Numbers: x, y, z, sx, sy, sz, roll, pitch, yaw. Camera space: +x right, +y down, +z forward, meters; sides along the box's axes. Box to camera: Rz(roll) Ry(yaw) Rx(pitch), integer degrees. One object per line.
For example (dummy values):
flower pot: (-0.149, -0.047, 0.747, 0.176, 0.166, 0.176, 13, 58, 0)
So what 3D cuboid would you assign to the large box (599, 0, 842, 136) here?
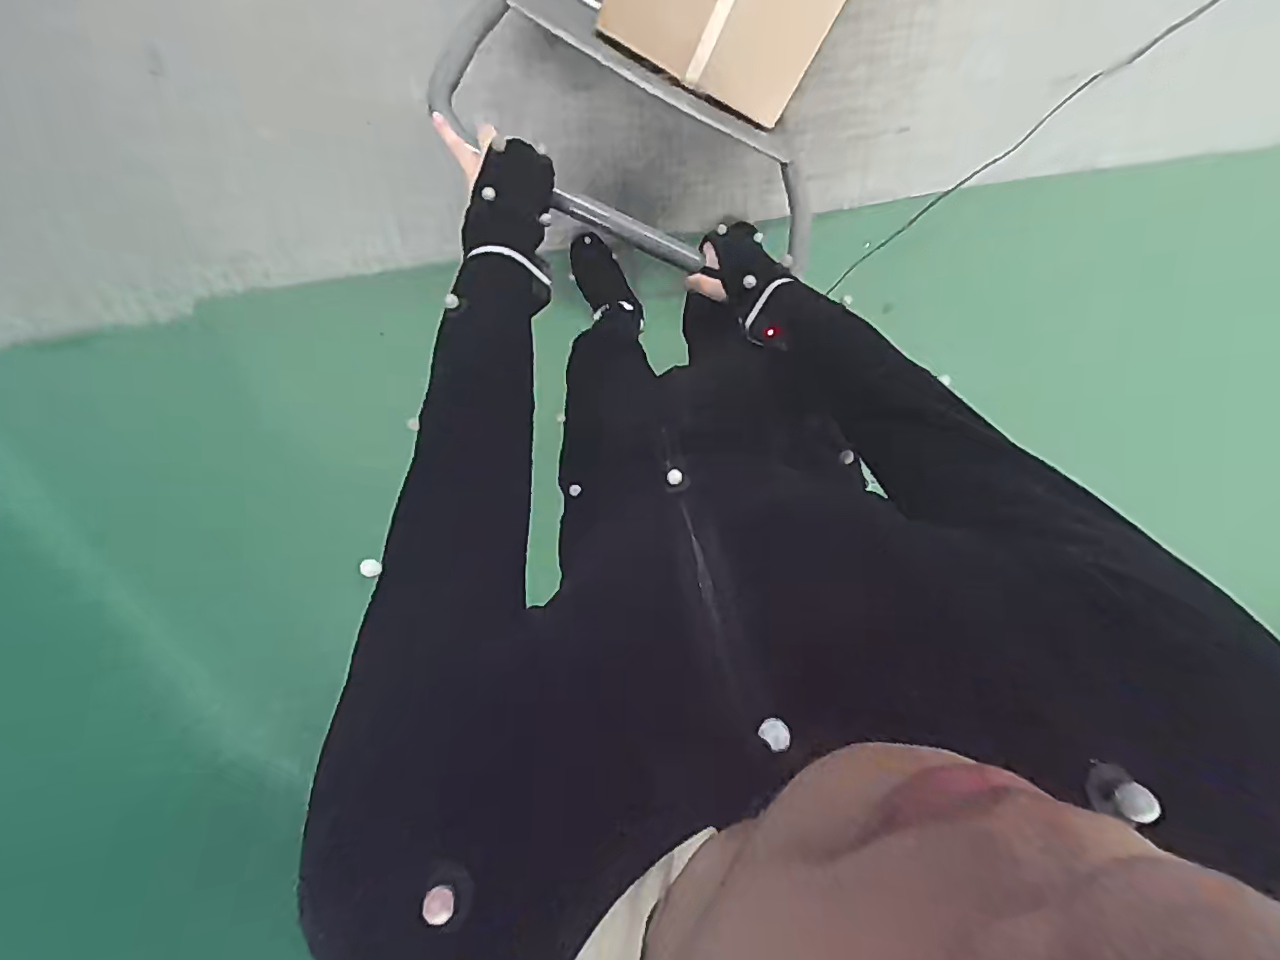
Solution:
large box: (0.162, -0.846, 0.830, 0.320, 0.320, 0.408, 19, 135, -17)
